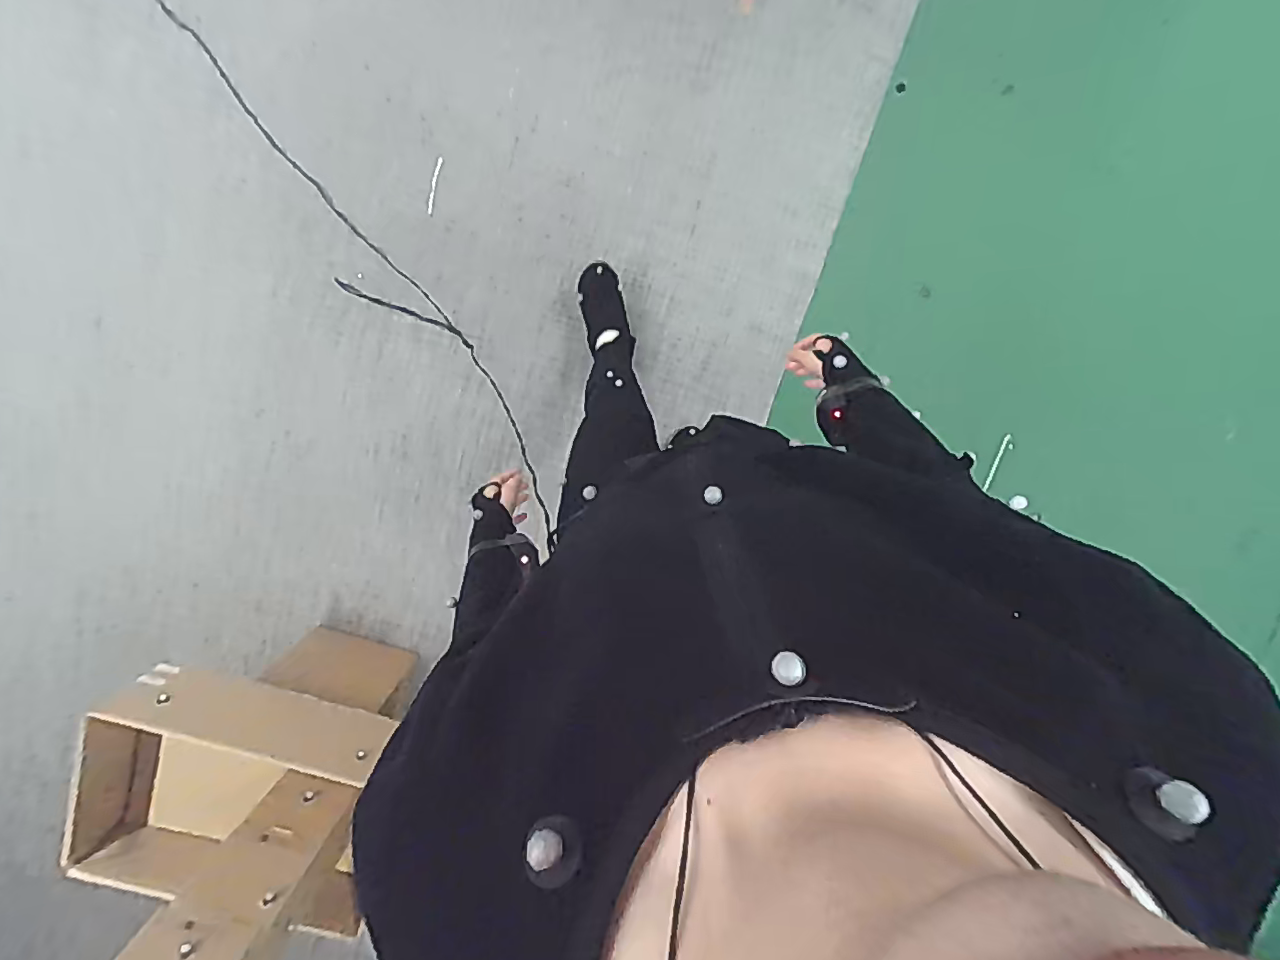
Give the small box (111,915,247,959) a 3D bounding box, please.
[{"bbox_3d":[-0.727,0.810,0.803,0.168,0.176,0.179,16,101,-4],"label":"small box"}]
